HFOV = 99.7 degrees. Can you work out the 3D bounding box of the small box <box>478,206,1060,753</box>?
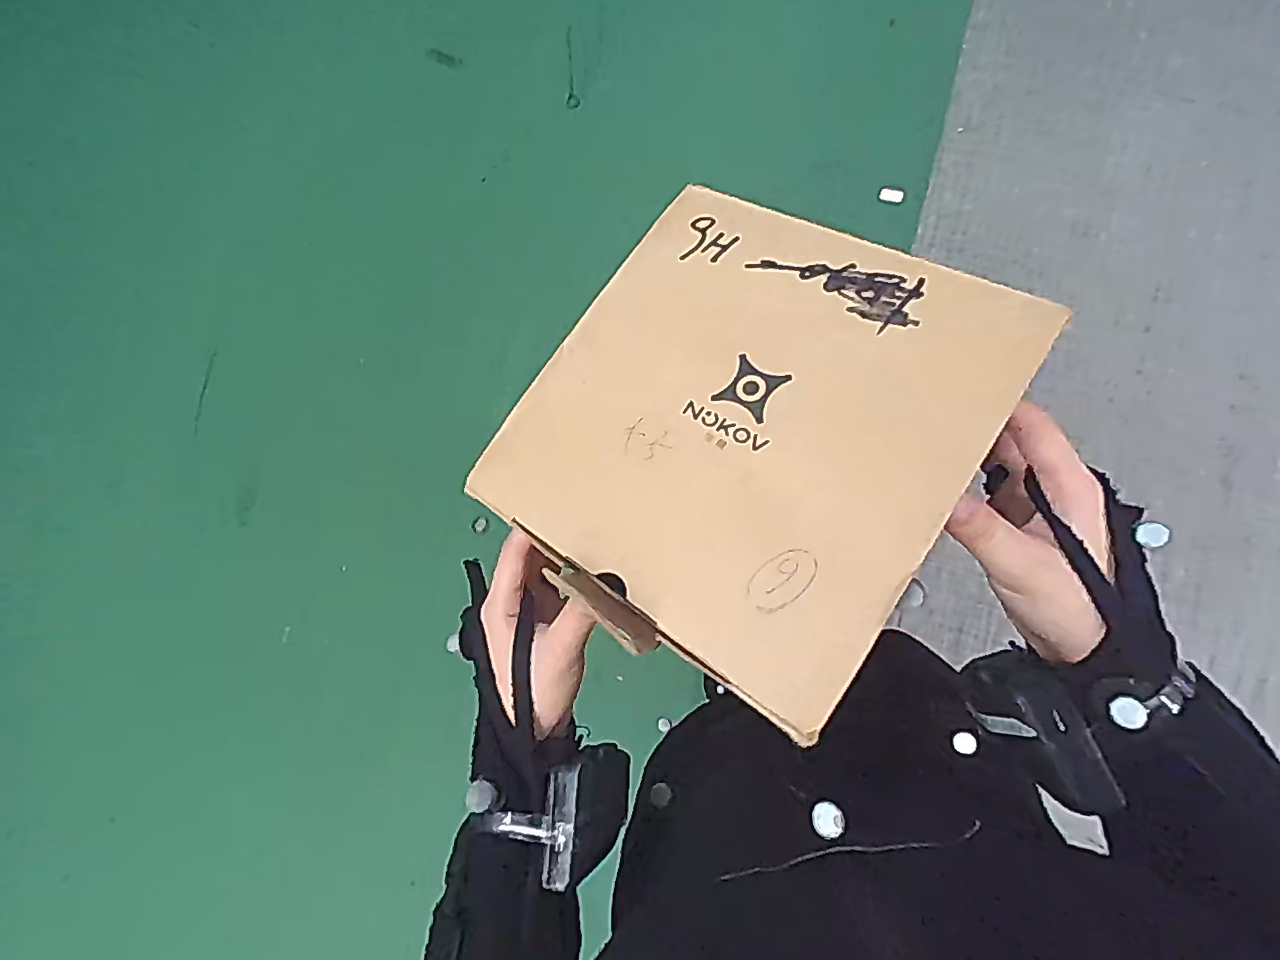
[{"bbox_3d":[0.060,0.006,0.286,0.168,0.176,0.179,33,82,22],"label":"small box"}]
